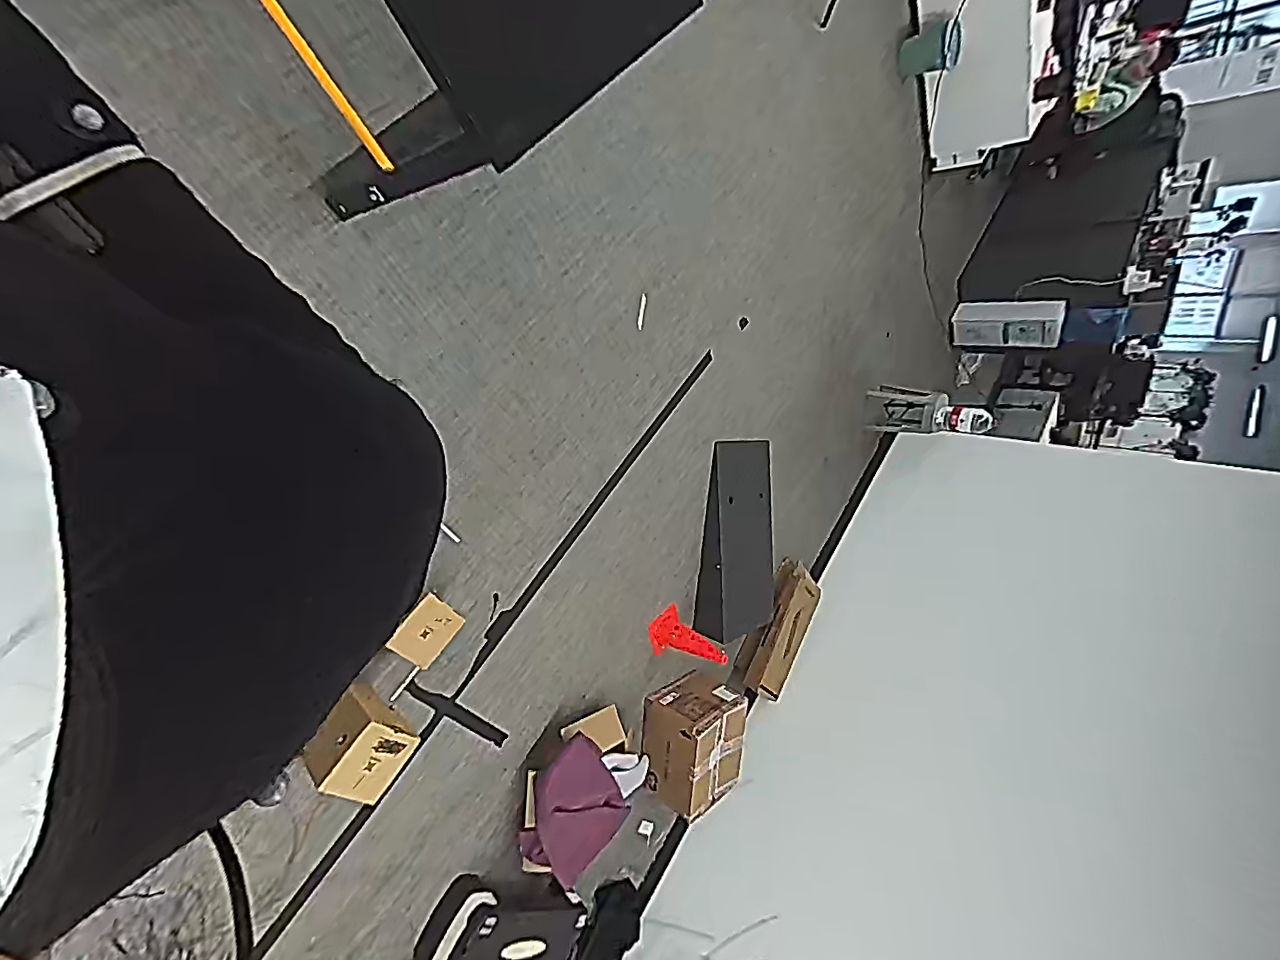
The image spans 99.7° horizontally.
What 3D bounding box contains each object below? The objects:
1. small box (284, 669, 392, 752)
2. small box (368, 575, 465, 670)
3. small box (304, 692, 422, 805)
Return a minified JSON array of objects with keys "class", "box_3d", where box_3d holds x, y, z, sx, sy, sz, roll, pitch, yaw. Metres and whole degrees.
[{"class":"small box","box_3d":[-0.813,0.635,1.457,0.168,0.176,0.179,-55,134,-20]},{"class":"small box","box_3d":[-0.650,0.407,1.559,0.179,0.176,0.168,-53,134,-23]},{"class":"small box","box_3d":[-0.693,0.661,1.346,0.179,0.176,0.168,-54,134,-19]}]
